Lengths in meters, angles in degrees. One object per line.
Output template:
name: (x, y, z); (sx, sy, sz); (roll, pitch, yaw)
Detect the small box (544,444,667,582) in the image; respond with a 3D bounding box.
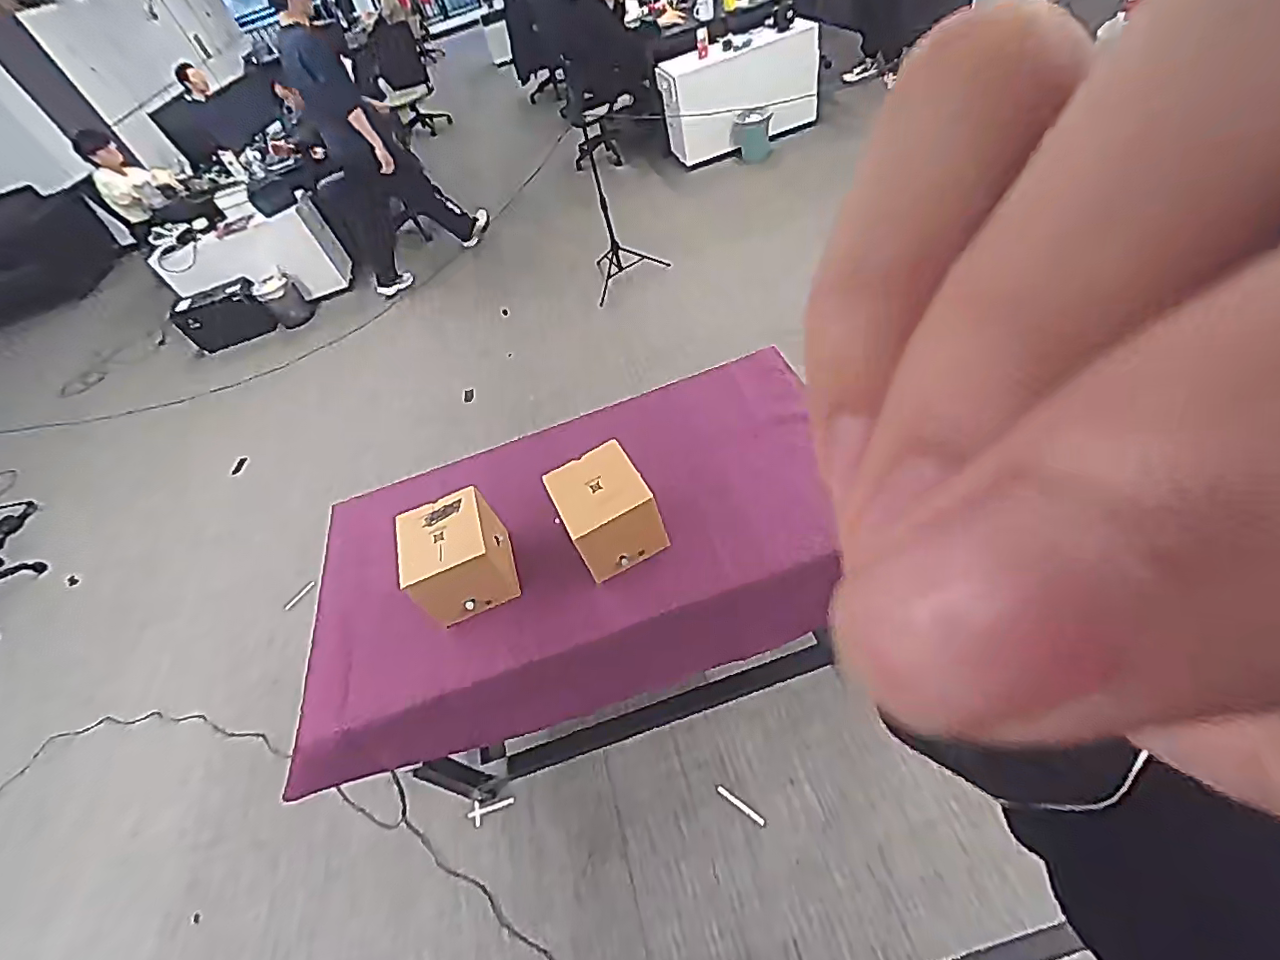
small box: (-0.066, 0.068, 1.070); (0.168, 0.176, 0.179); (-28, 49, -7)

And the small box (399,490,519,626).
small box: (-0.359, 0.158, 1.080); (0.168, 0.176, 0.179); (-23, 49, -3)
